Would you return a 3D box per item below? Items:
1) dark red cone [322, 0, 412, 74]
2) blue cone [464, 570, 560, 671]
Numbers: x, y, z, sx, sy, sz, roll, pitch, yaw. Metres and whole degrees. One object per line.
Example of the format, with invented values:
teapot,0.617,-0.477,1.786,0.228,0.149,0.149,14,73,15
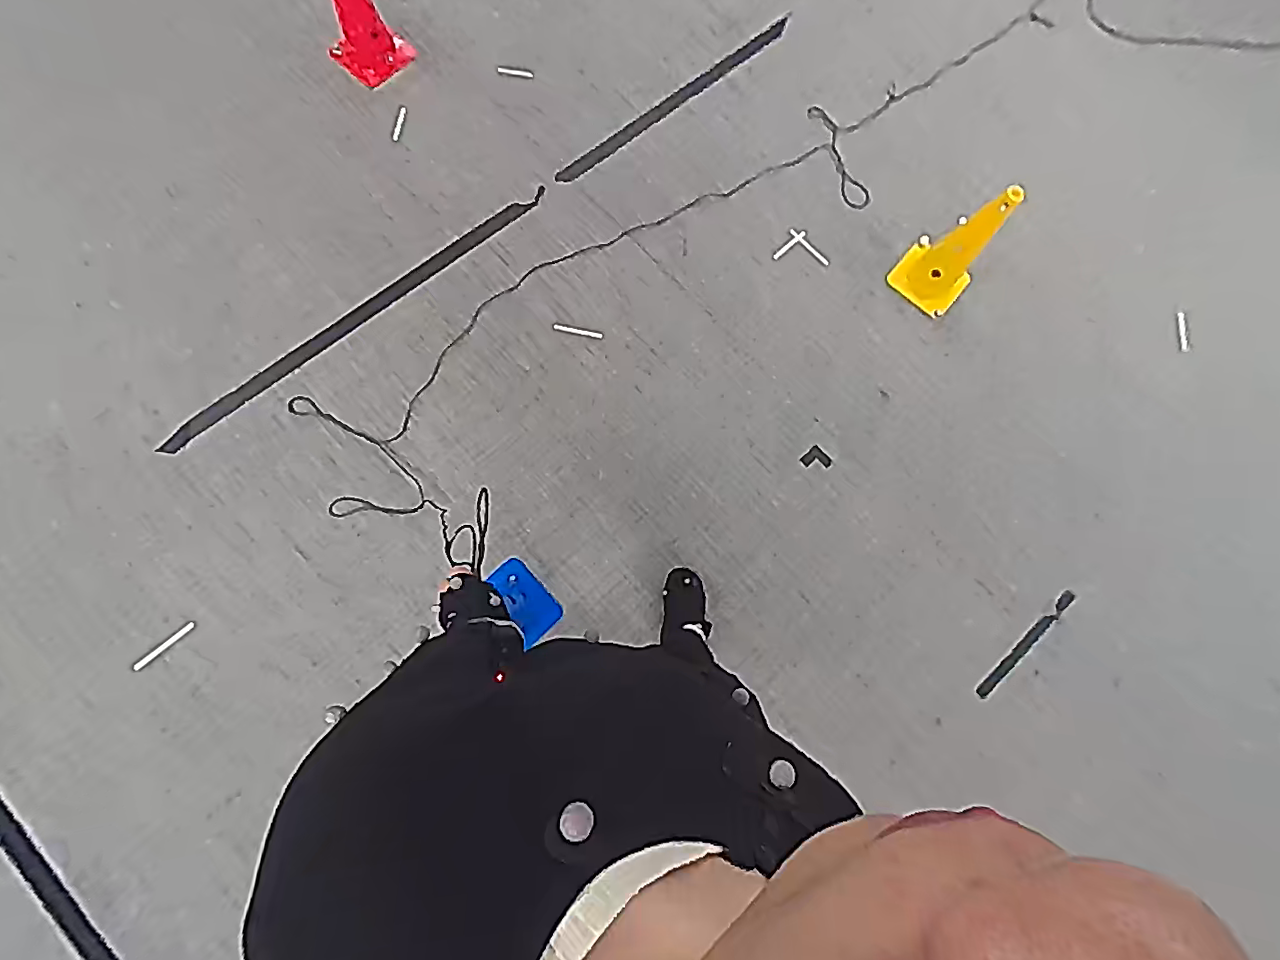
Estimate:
dark red cone,-0.801,-1.354,1.462,0.201,0.394,0.202,40,78,4
blue cone,-0.300,0.306,1.161,0.193,0.380,0.192,-40,84,-11
